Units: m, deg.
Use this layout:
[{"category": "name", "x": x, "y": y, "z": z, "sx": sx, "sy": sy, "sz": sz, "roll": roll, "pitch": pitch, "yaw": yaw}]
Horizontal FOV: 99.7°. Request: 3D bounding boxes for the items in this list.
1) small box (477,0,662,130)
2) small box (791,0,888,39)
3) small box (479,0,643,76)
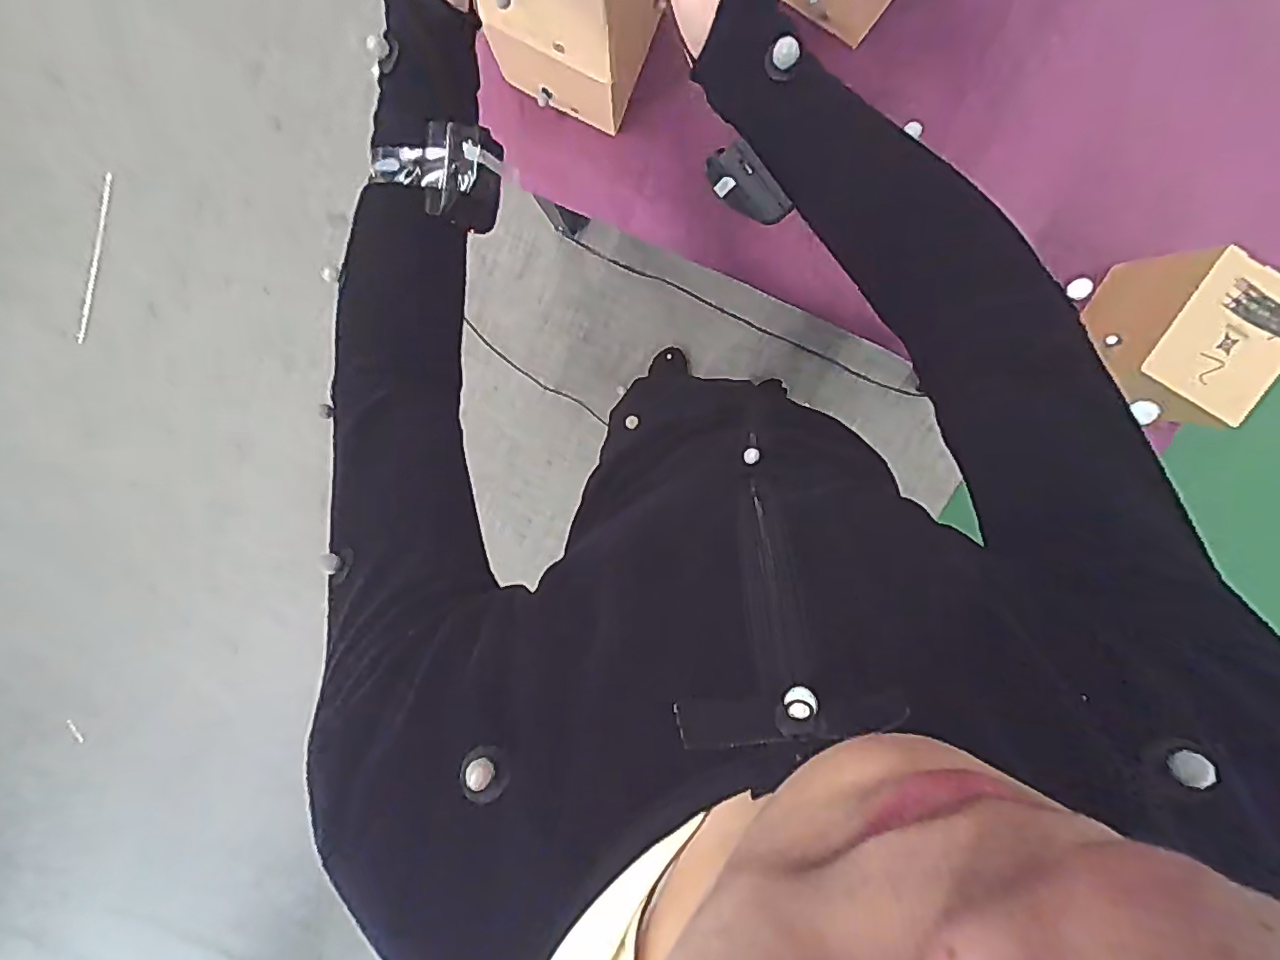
[{"category": "small box", "x": -0.074, "y": -0.581, "z": 0.662, "sx": 0.168, "sy": 0.176, "sz": 0.179, "roll": 23, "pitch": 102, "yaw": -6}, {"category": "small box", "x": 0.268, "y": -0.690, "z": 0.637, "sx": 0.168, "sy": 0.176, "sz": 0.179, "roll": 28, "pitch": 103, "yaw": -7}, {"category": "small box", "x": -0.071, "y": -0.536, "z": 0.507, "sx": 0.168, "sy": 0.176, "sz": 0.179, "roll": 24, "pitch": 101, "yaw": -5}]
